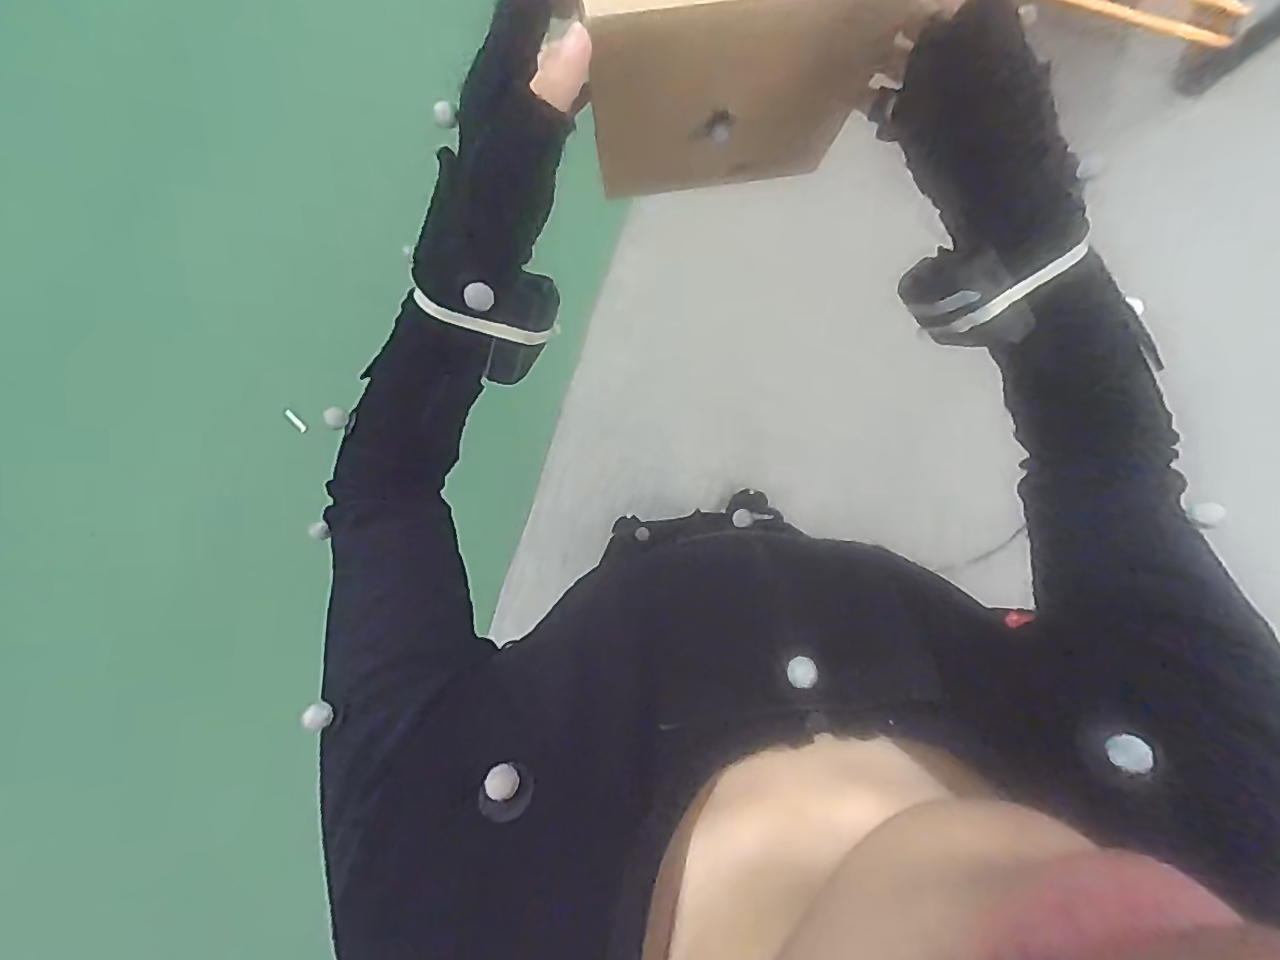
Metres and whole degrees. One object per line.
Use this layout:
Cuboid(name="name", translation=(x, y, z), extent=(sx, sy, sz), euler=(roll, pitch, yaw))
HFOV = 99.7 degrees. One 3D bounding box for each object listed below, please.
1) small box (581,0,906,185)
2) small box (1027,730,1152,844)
Cuboid(name="small box", translation=(0.046, -0.309, 0.335), extent=(0.168, 0.176, 0.179), euler=(-7, 89, 0))
Cuboid(name="small box", translation=(1.139, 0.776, 1.383), extent=(0.168, 0.176, 0.179), euler=(17, 85, 0))
